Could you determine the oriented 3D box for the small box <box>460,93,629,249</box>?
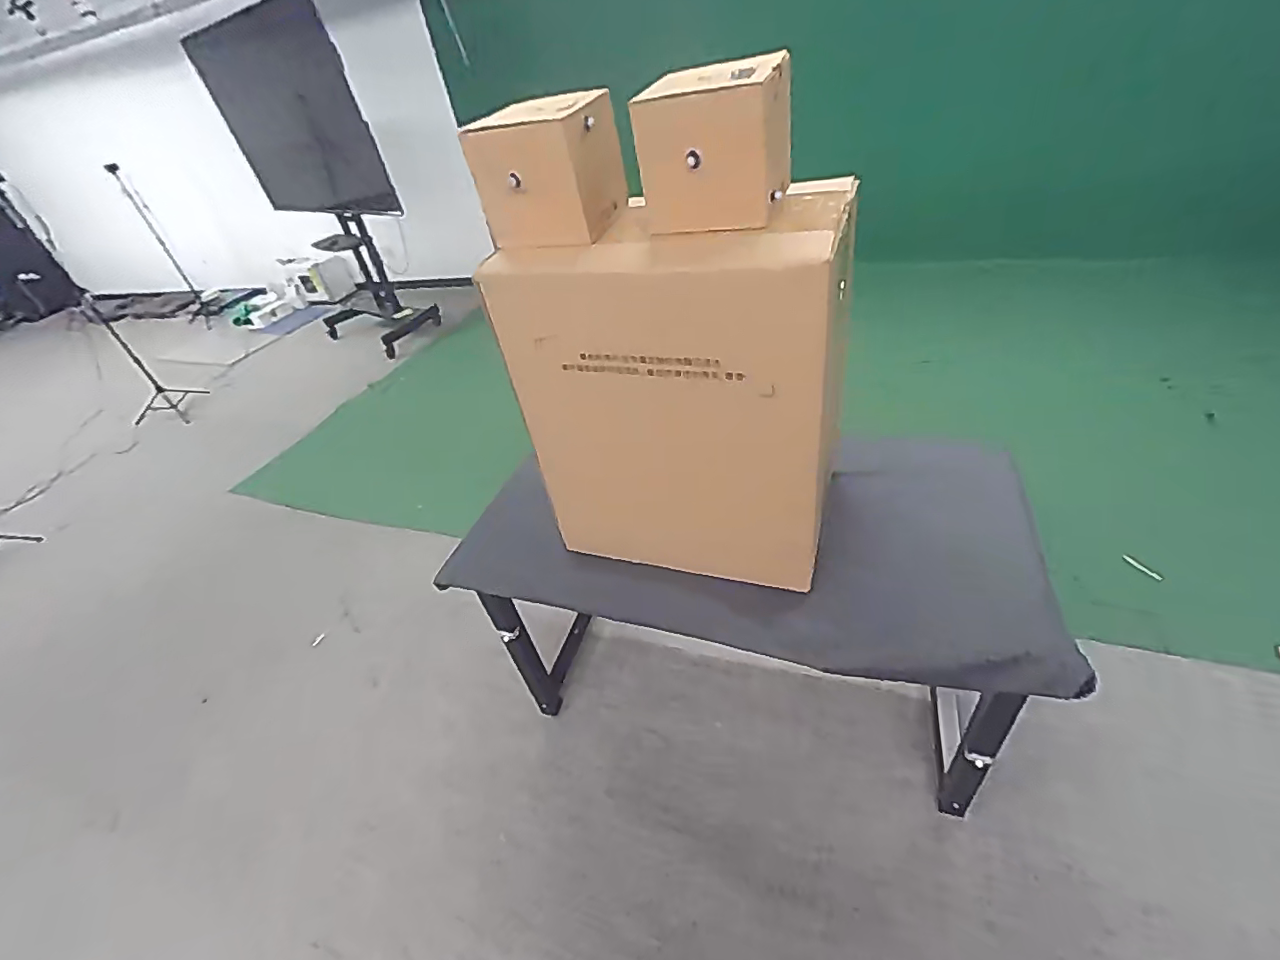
[{"bbox_3d":[-0.137,-0.474,0.844,0.179,0.176,0.168,7,47,22],"label":"small box"}]

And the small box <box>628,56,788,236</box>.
[{"bbox_3d":[0.107,-0.462,0.761,0.179,0.176,0.168,7,47,23],"label":"small box"}]
